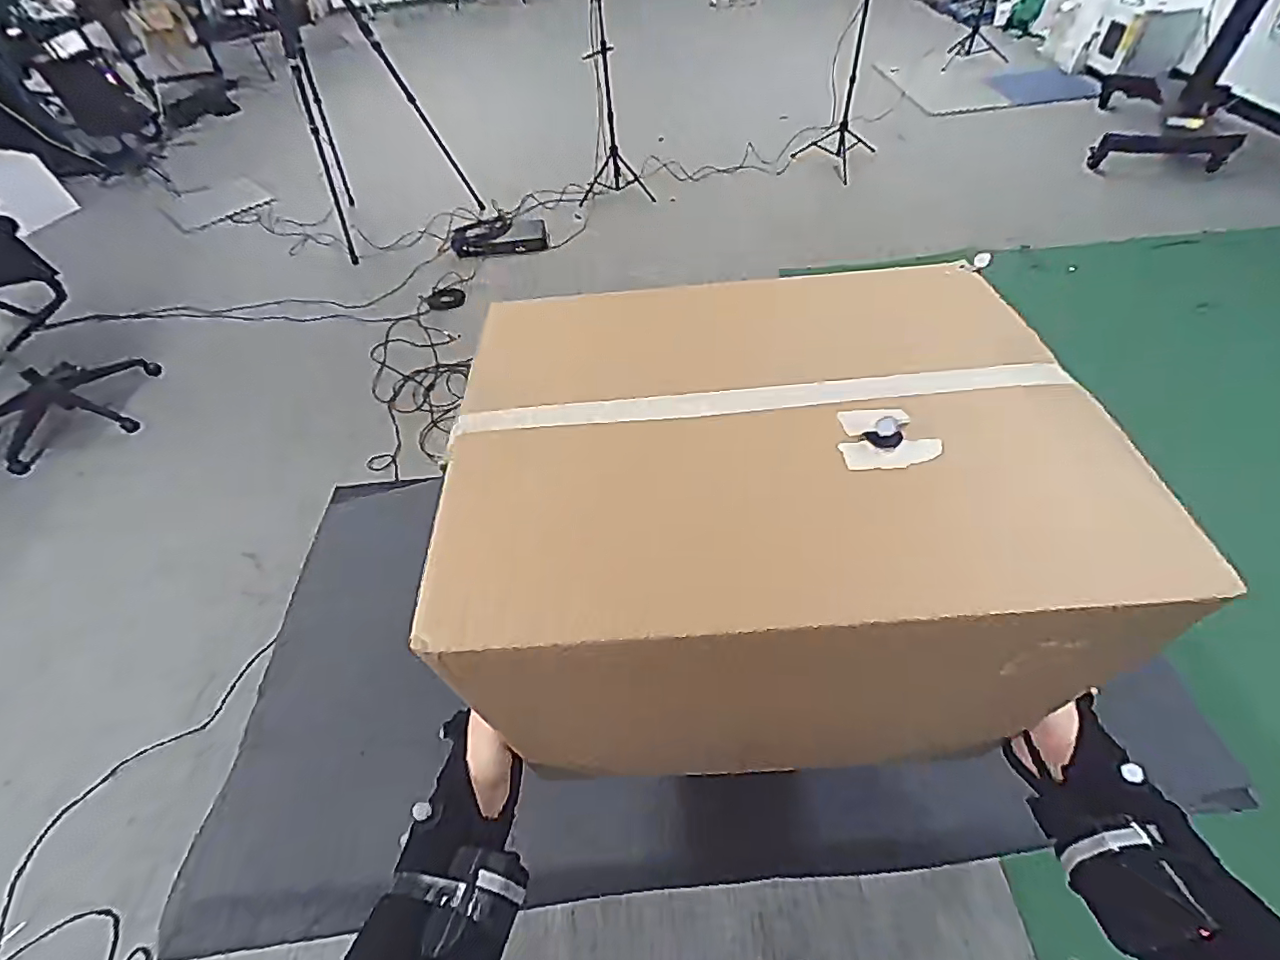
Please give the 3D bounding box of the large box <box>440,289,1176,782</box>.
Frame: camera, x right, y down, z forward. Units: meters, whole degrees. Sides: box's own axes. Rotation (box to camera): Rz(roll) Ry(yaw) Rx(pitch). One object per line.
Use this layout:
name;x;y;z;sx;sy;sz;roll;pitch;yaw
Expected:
large box;0.088;0.059;0.495;0.408;0.320;0.320;-4;50;1
